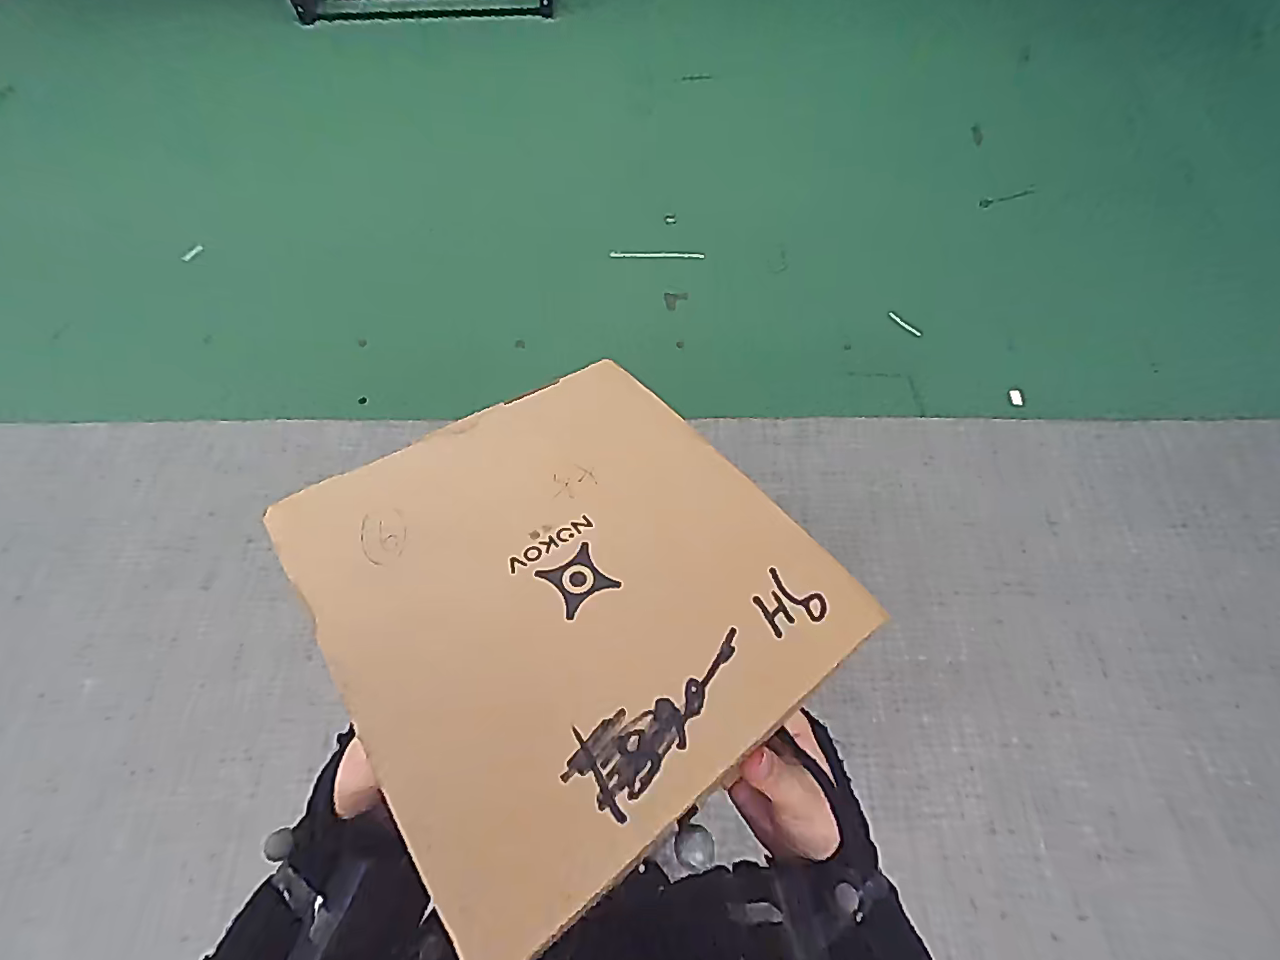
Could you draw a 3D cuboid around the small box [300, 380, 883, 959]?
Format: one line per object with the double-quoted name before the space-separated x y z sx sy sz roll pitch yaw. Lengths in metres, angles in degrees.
"small box" -0.027 0.087 0.273 0.168 0.176 0.179 -31 59 -24
